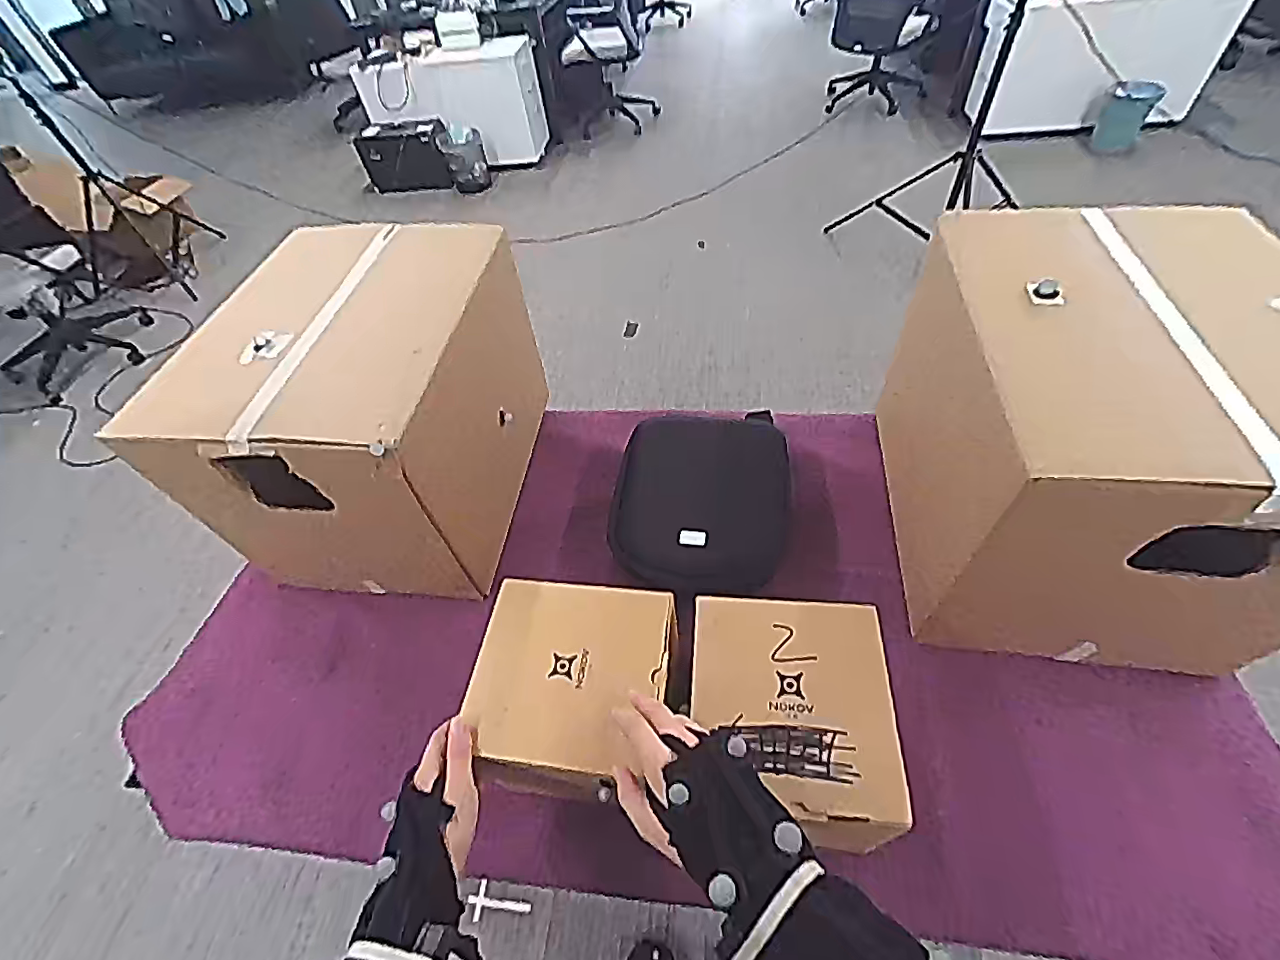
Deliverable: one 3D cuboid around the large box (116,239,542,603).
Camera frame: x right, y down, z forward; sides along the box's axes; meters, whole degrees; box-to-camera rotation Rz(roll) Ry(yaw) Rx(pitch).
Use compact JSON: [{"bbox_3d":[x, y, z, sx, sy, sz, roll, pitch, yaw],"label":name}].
[{"bbox_3d":[-0.344,-0.084,0.753,0.320,0.320,0.408,1,53,7],"label":"large box"}]
